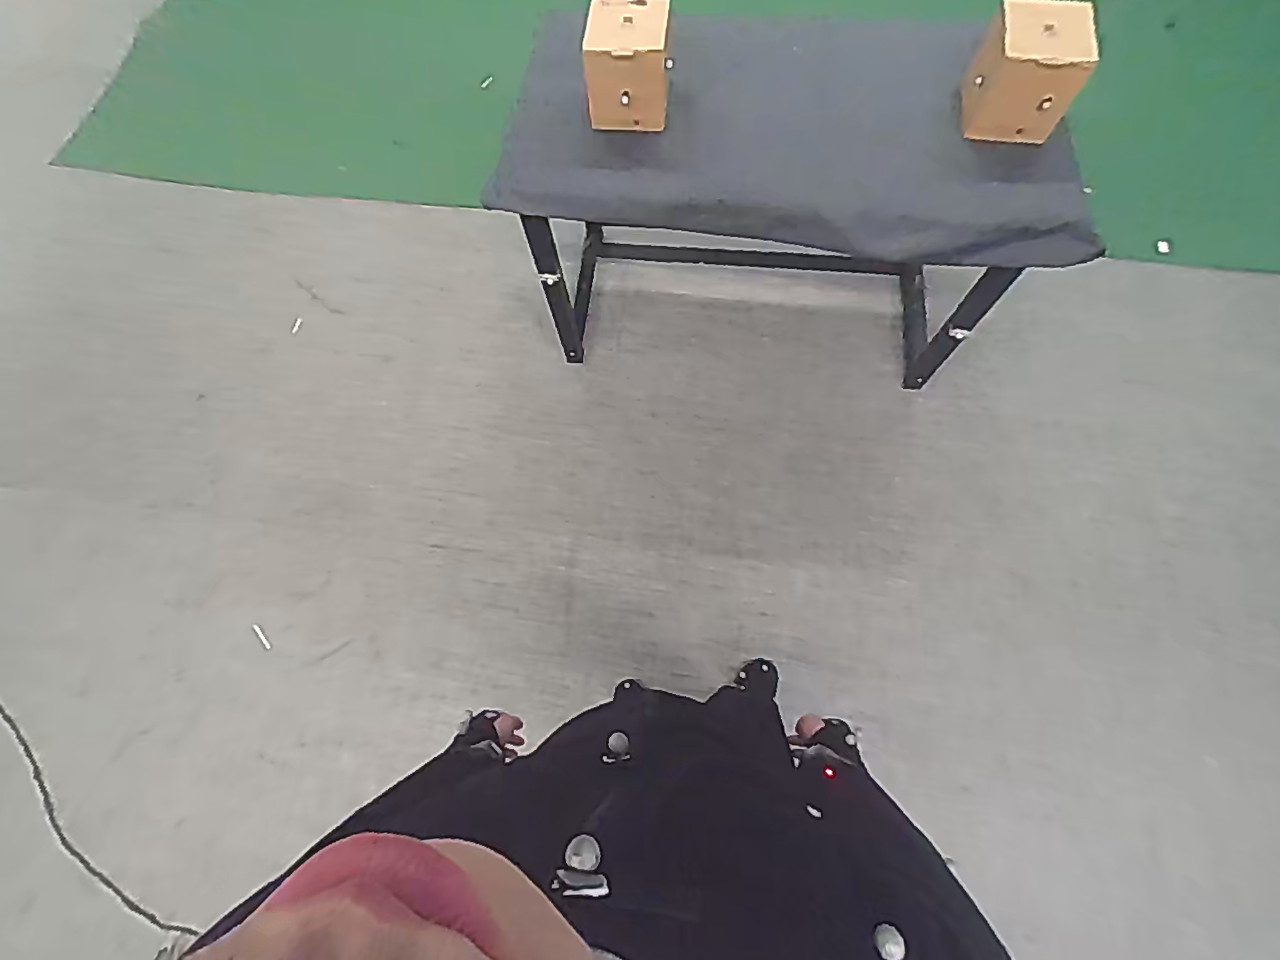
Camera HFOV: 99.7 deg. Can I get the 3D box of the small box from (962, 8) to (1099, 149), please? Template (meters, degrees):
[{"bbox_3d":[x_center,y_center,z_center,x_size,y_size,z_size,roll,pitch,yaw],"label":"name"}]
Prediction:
[{"bbox_3d":[0.788,-0.817,1.111,0.168,0.176,0.179,9,69,5],"label":"small box"}]

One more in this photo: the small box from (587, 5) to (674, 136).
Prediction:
[{"bbox_3d":[-0.013,-0.888,1.182,0.168,0.176,0.179,5,70,4],"label":"small box"}]
